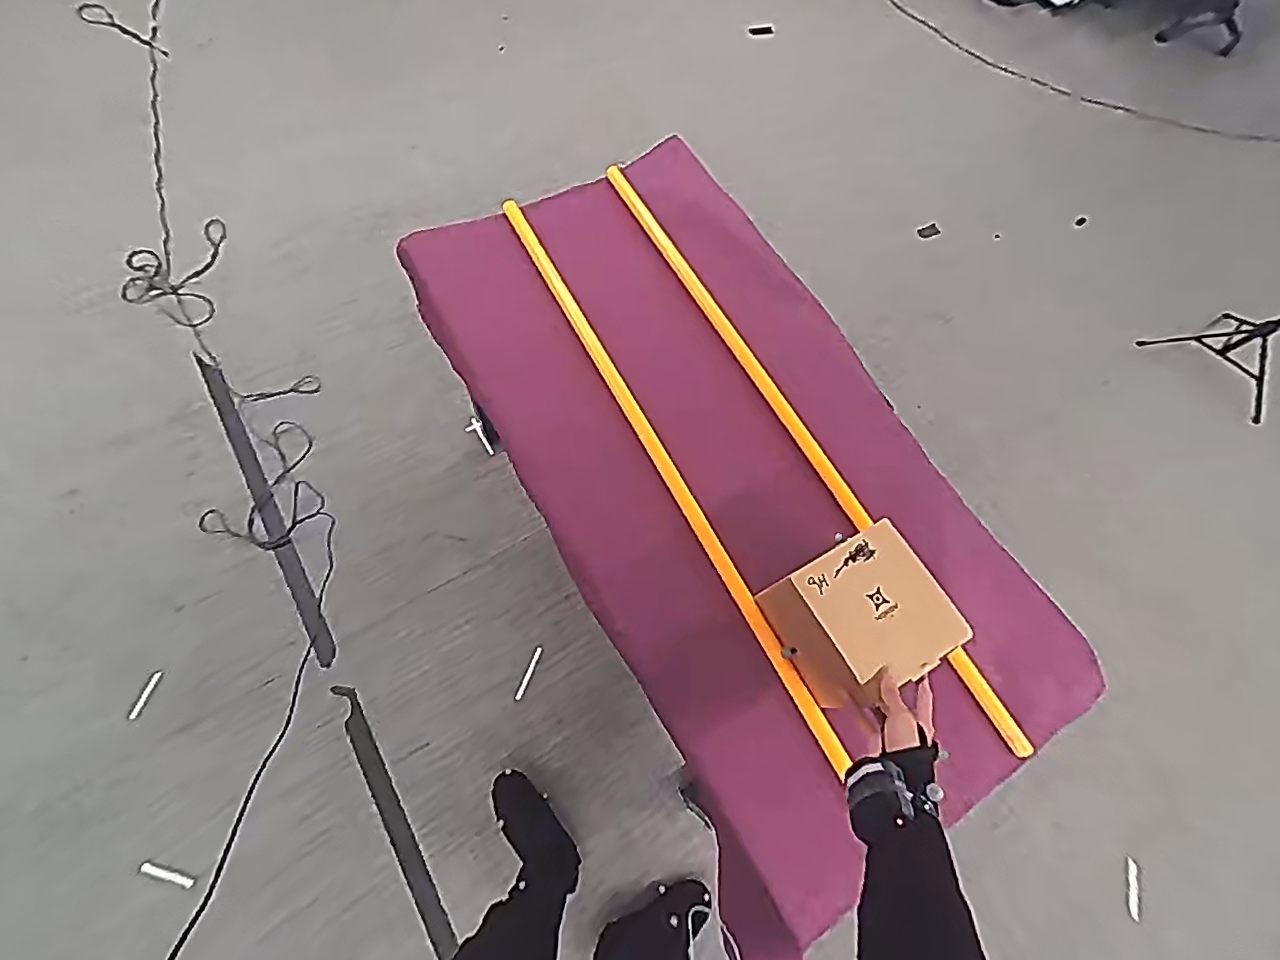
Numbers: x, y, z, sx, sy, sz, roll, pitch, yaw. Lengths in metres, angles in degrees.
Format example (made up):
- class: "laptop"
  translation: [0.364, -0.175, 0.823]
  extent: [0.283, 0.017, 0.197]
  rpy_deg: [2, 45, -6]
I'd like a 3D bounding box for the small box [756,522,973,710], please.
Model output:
- class: "small box"
  translation: [0.287, 0.185, 0.732]
  extent: [0.168, 0.176, 0.179]
  rpy_deg: [-26, 73, -16]
